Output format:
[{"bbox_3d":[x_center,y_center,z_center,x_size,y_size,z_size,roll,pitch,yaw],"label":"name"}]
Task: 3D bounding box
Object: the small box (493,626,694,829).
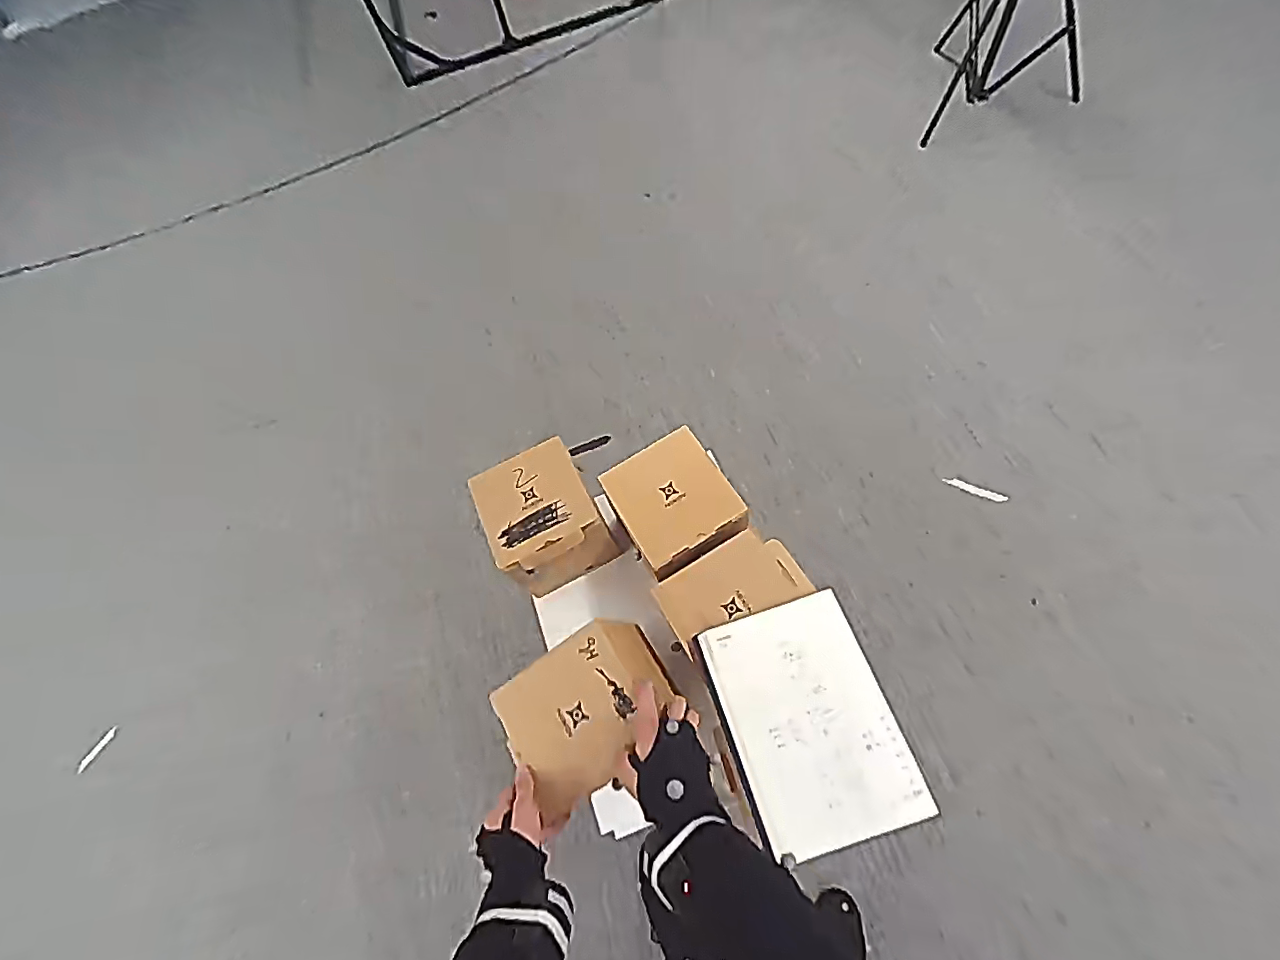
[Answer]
[{"bbox_3d":[-0.053,0.314,0.715,0.179,0.176,0.168,-37,65,5],"label":"small box"}]
